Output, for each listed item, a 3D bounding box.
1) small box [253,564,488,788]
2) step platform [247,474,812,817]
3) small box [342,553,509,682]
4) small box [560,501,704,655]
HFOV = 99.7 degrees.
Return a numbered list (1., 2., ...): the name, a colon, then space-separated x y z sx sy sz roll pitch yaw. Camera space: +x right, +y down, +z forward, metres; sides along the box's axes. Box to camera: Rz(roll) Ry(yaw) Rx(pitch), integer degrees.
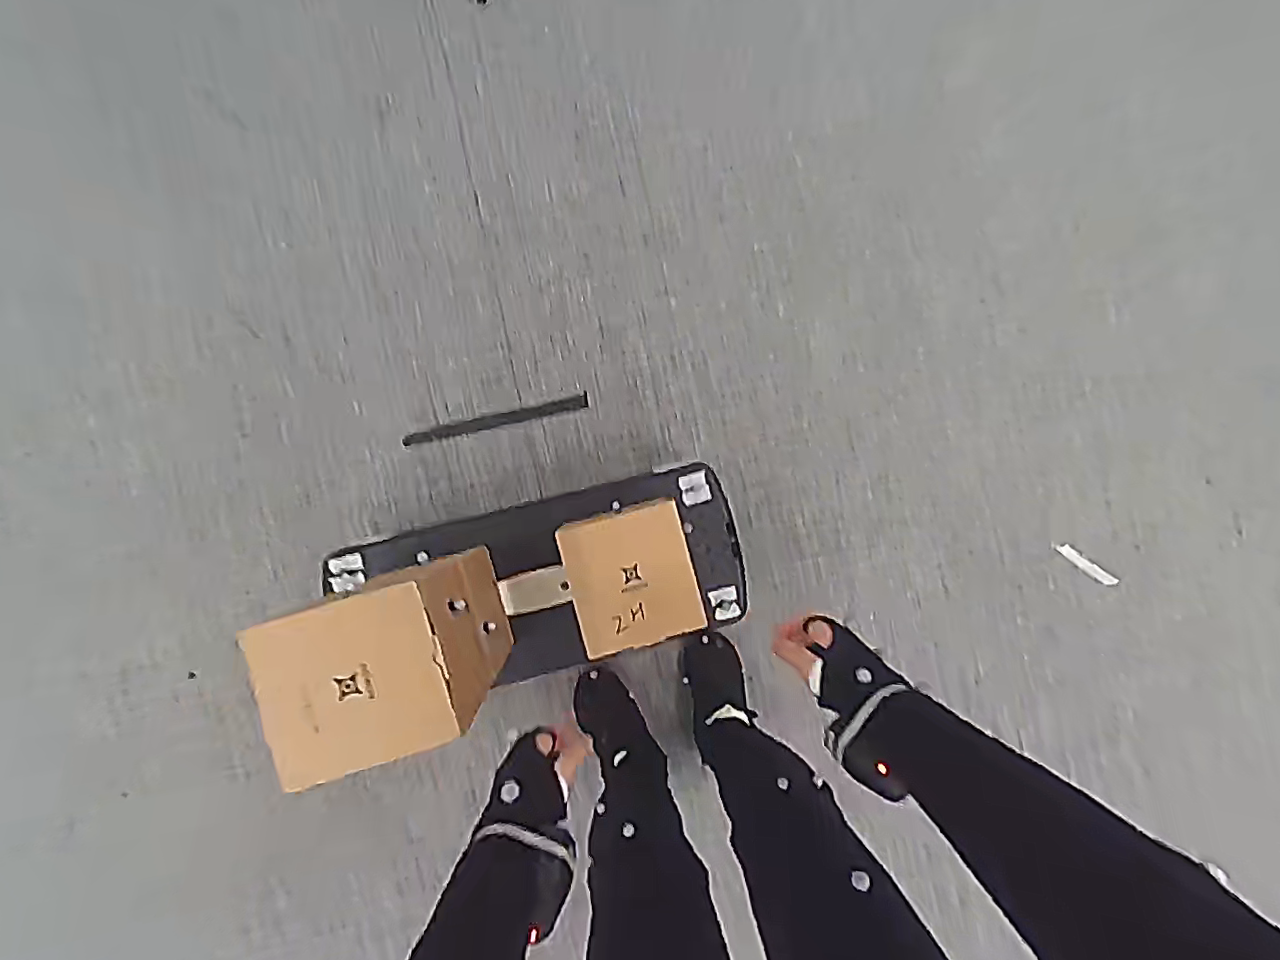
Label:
1. small box: -0.284 0.204 0.618 0.179 0.176 0.168 -17 89 -5
2. step platform: -0.132 0.202 0.757 0.684 0.204 0.286 -14 89 -5
3. small box: -0.297 0.206 0.781 0.179 0.176 0.168 -16 90 -4
4. small box: -0.016 0.134 0.803 0.168 0.176 0.179 -14 90 -3
